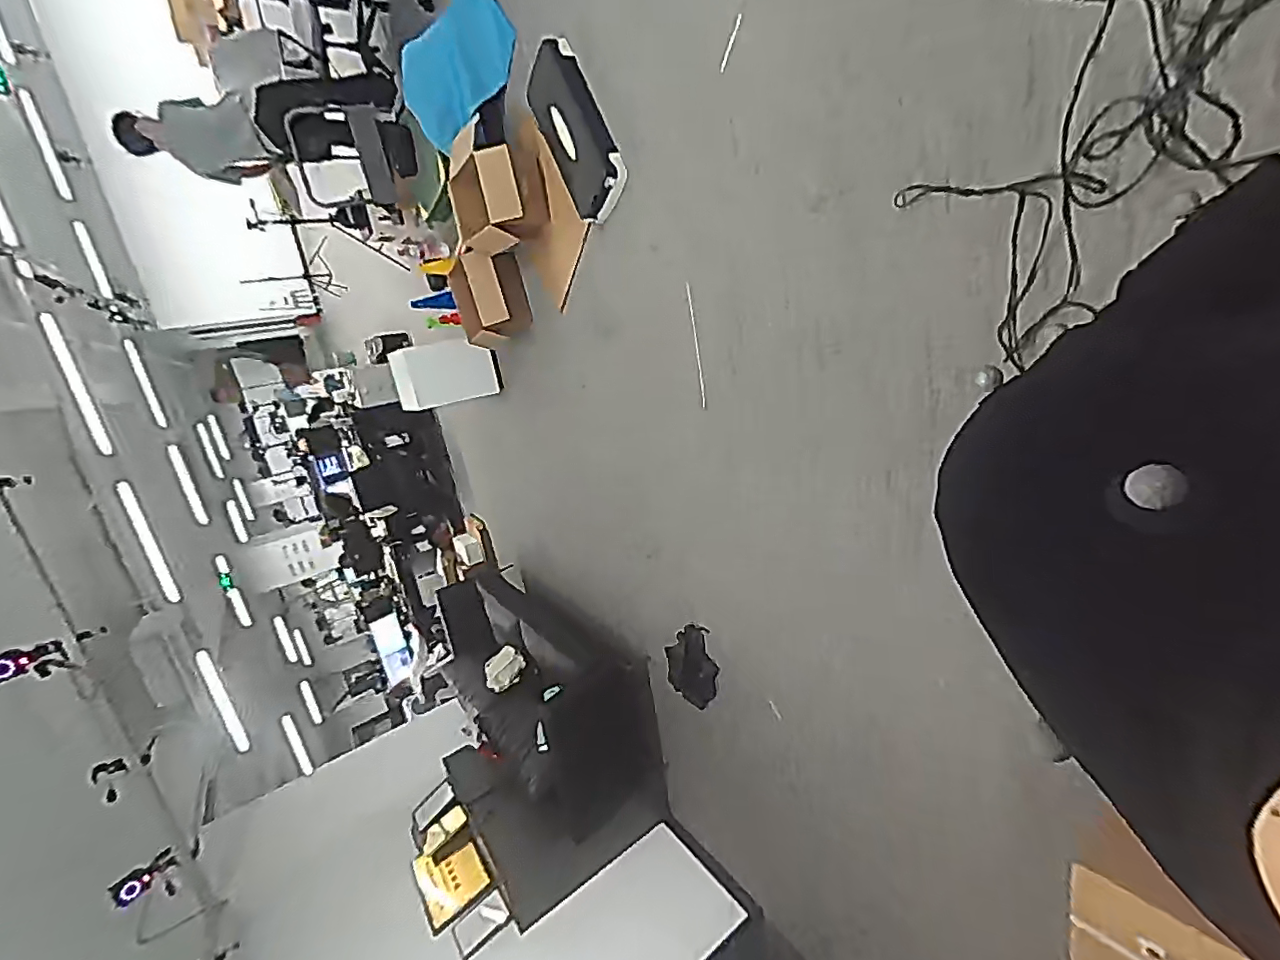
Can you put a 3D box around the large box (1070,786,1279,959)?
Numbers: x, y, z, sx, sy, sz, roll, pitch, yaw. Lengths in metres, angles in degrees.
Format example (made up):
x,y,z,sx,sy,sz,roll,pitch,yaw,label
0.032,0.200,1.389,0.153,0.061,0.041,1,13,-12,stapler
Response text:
x,y,z,sx,sy,sz,roll,pitch,yaw,label
1.168,0.926,1.083,0.408,0.320,0.320,12,116,56,large box
